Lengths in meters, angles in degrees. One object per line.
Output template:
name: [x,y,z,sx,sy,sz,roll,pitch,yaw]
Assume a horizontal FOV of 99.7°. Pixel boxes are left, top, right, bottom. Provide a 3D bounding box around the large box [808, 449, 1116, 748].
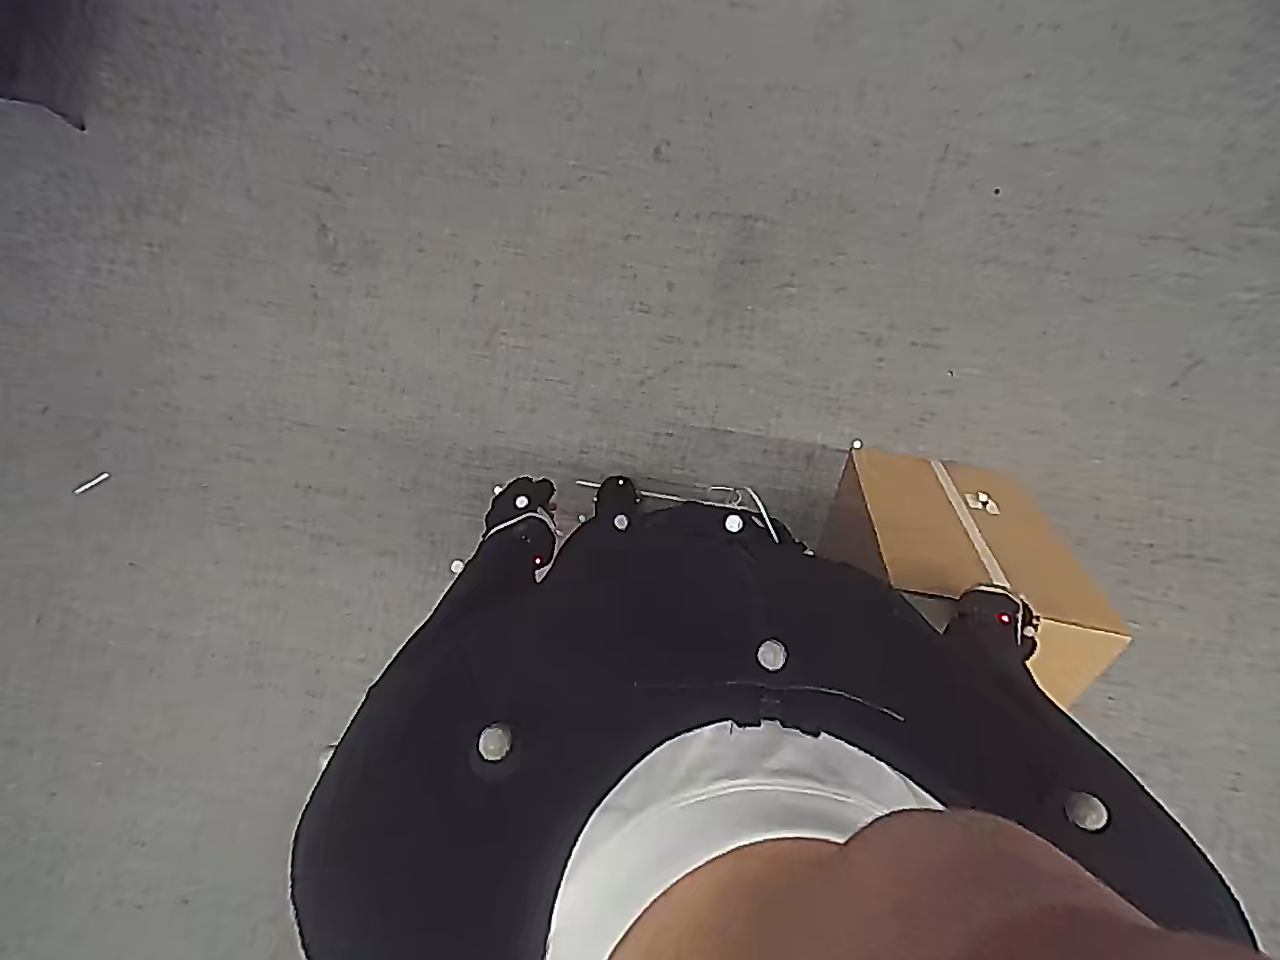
large box: [0.510,0.192,0.979,0.320,0.408,0.320,12,123,5]
